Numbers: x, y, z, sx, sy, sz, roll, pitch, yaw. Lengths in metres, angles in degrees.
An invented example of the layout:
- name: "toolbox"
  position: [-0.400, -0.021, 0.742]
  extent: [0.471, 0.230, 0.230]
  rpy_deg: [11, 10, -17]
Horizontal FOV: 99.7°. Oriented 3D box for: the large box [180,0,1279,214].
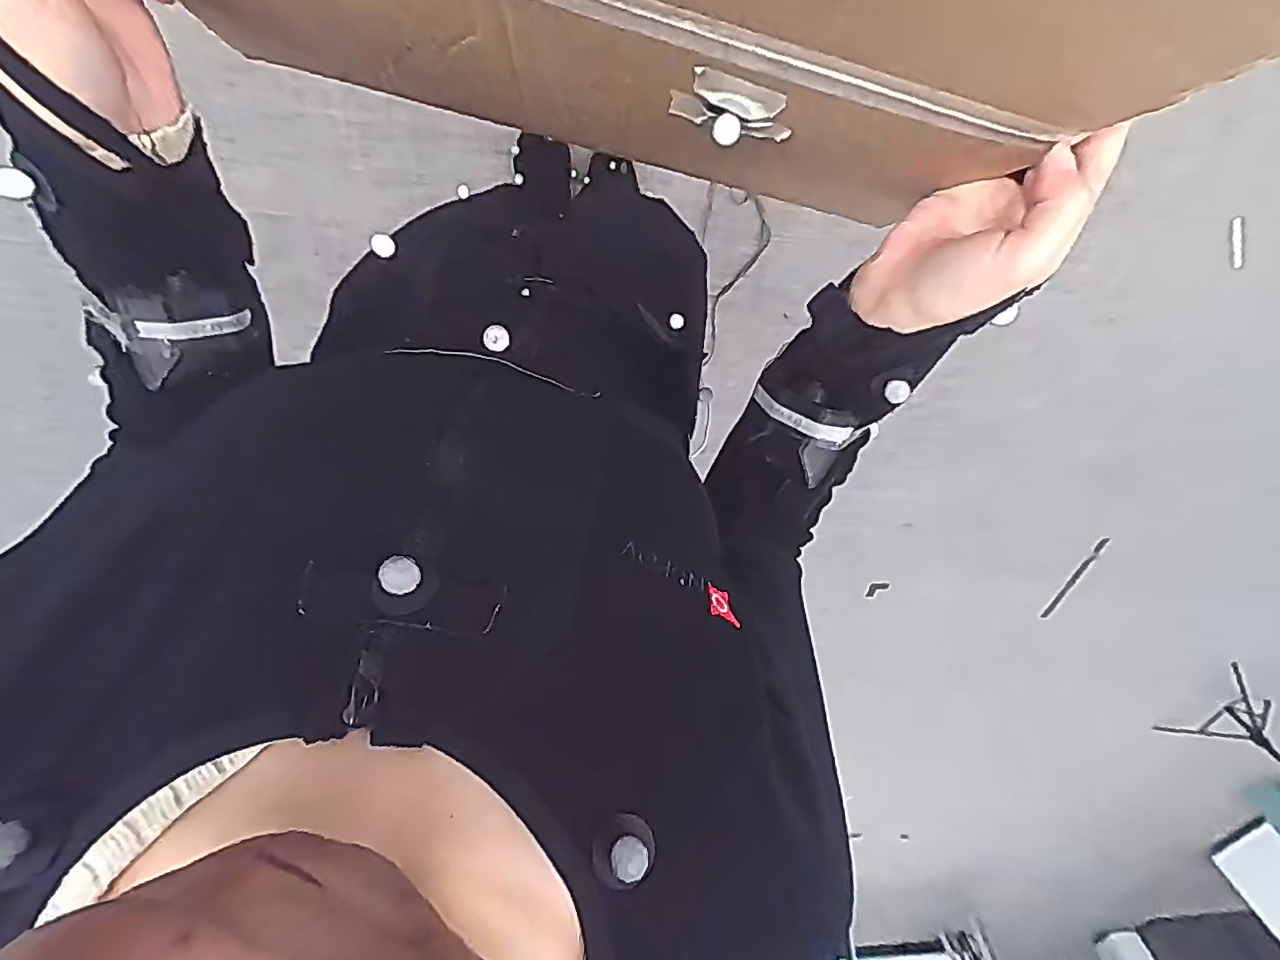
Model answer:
- name: "large box"
  position: [0.010, -0.325, 0.167]
  extent: [0.408, 0.320, 0.320]
  rpy_deg: [9, 103, -8]
